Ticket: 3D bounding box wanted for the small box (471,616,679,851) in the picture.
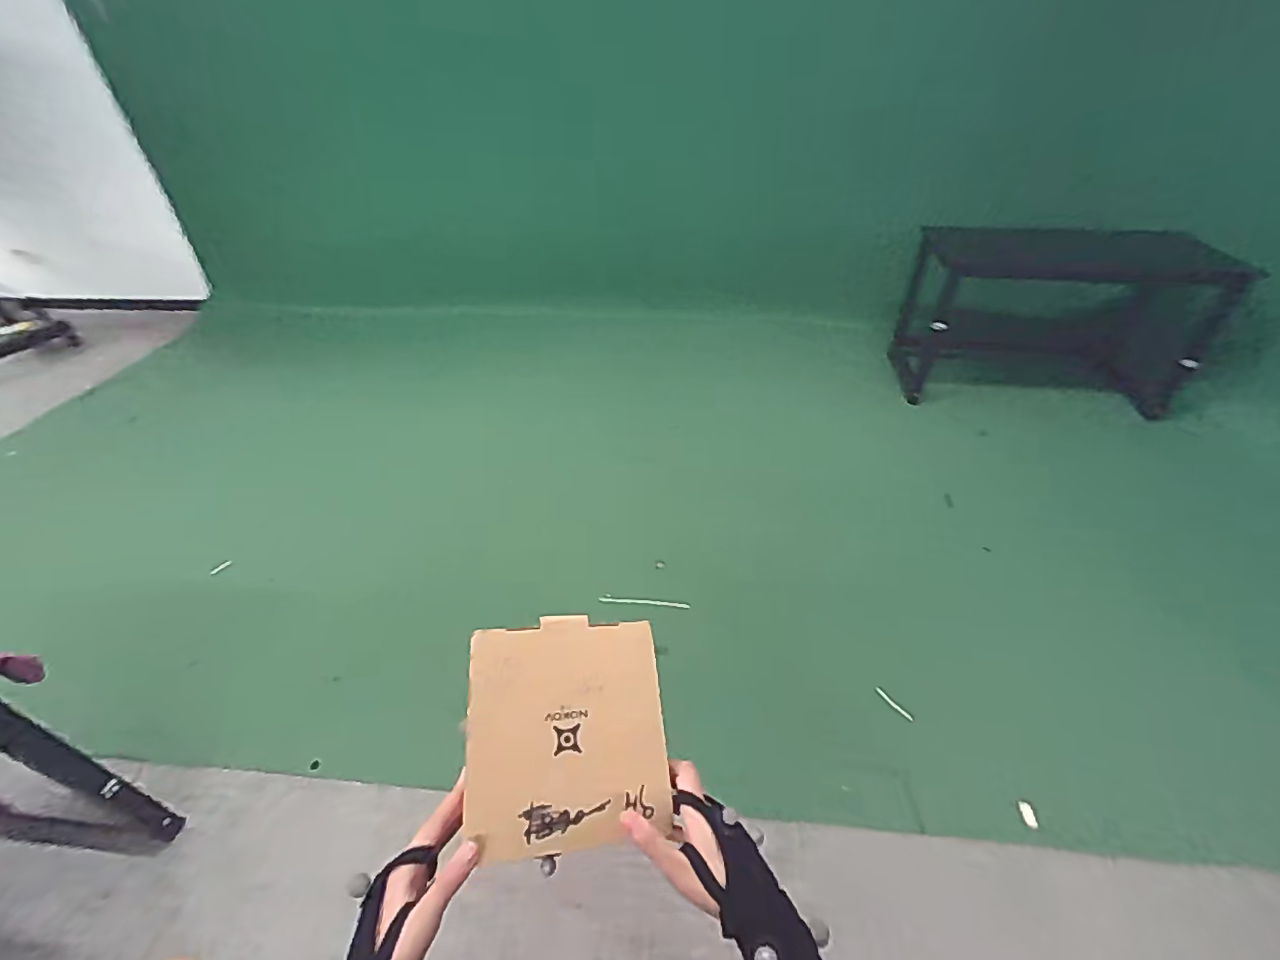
[{"bbox_3d":[-0.070,0.247,0.529,0.168,0.176,0.179,-1,59,-12],"label":"small box"}]
